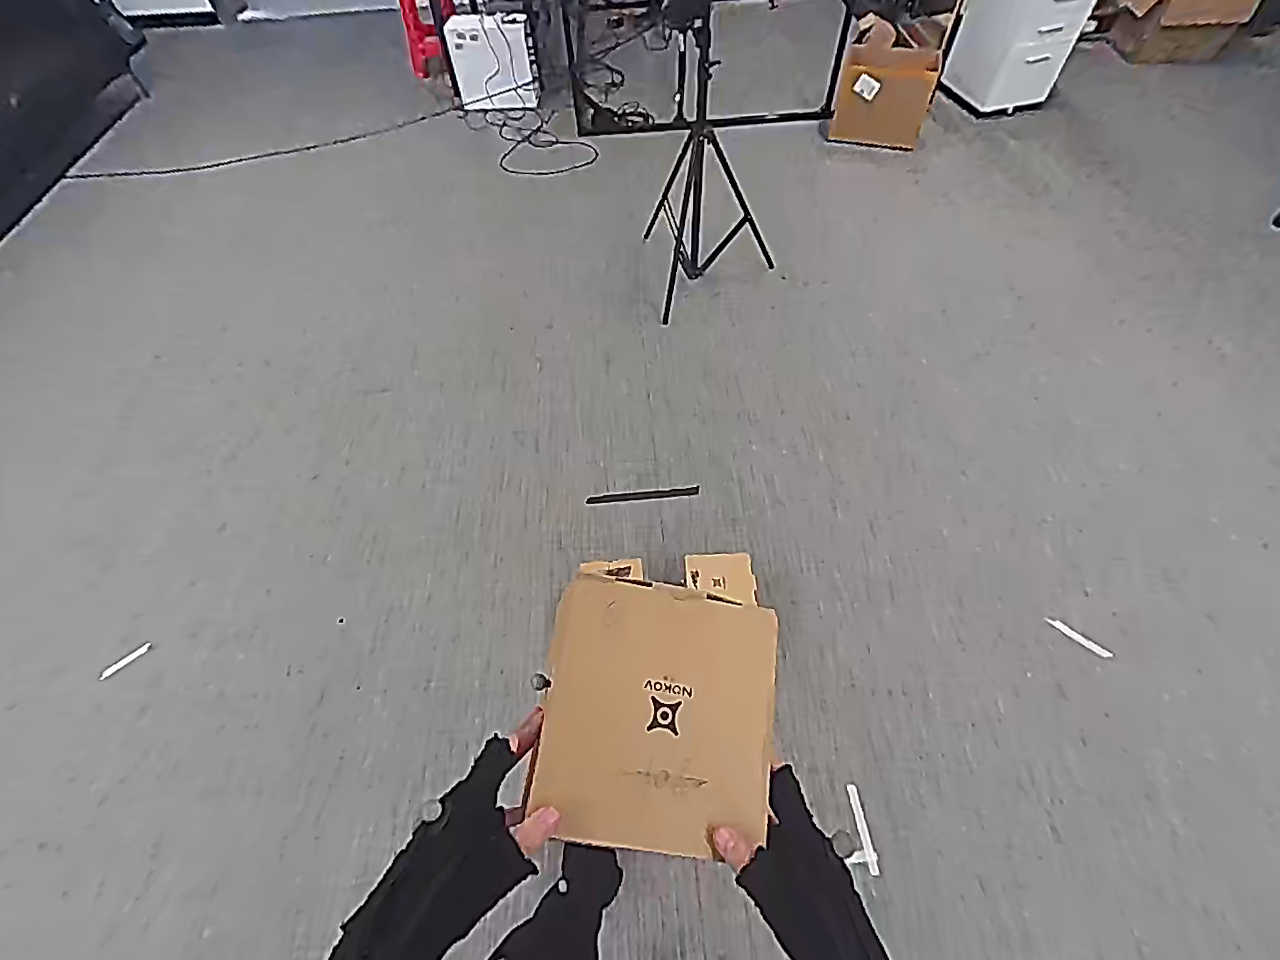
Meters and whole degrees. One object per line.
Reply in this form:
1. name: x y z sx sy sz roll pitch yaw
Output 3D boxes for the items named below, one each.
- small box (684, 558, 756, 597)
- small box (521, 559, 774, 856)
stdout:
1. small box: 0.210 0.319 1.455 0.179 0.176 0.168 -1 56 1
2. small box: -0.002 0.184 0.457 0.168 0.176 0.179 13 67 -7
